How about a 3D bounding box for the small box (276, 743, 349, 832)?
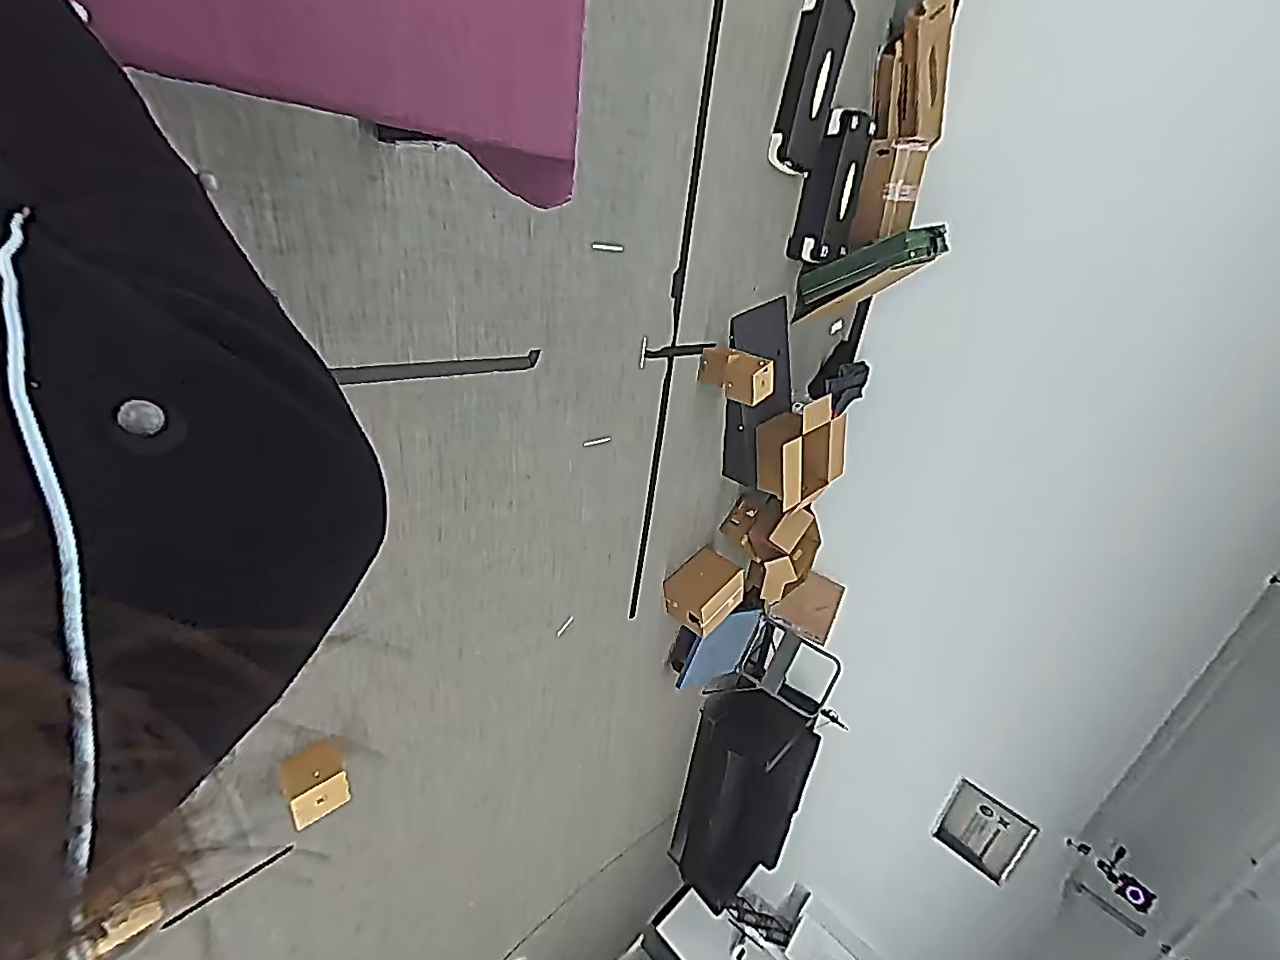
[{"bbox_3d":[-1.172,1.088,1.927,0.179,0.176,0.168,-21,127,-43],"label":"small box"}]
